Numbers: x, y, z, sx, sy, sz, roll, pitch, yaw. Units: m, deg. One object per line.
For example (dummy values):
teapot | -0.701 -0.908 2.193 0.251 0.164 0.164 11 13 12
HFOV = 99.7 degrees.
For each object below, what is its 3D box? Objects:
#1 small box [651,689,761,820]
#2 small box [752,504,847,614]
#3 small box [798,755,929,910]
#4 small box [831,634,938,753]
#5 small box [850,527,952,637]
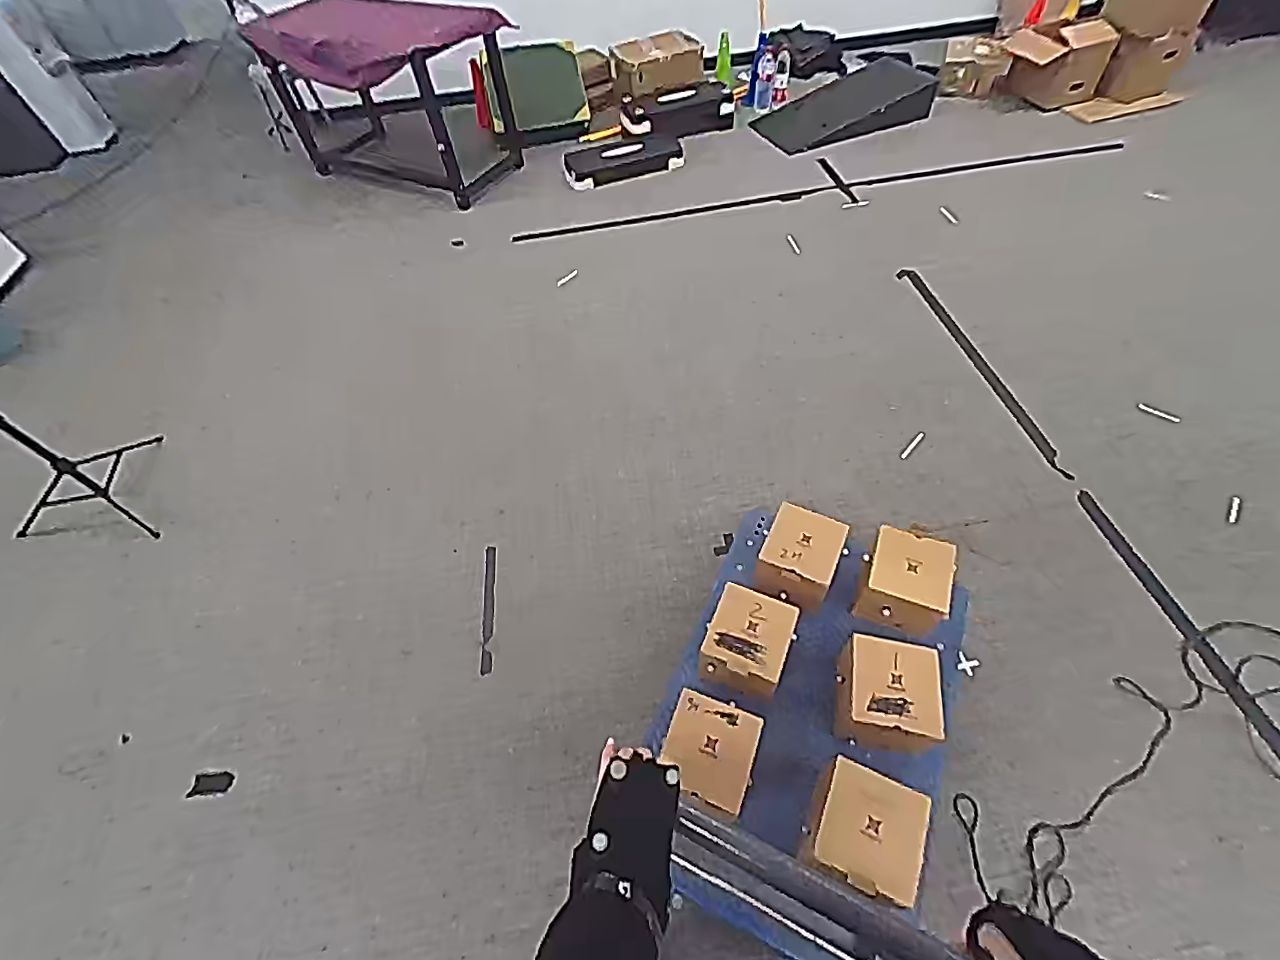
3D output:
small box | 0.132 0.552 1.080 0.168 0.176 0.179 17 57 15
small box | 0.383 0.195 1.322 0.168 0.176 0.179 21 59 19
small box | 0.401 0.645 0.993 0.168 0.176 0.179 21 57 18
small box | 0.503 0.450 1.128 0.168 0.176 0.179 10 55 12
small box | 0.607 0.244 1.272 0.168 0.176 0.179 17 57 16
